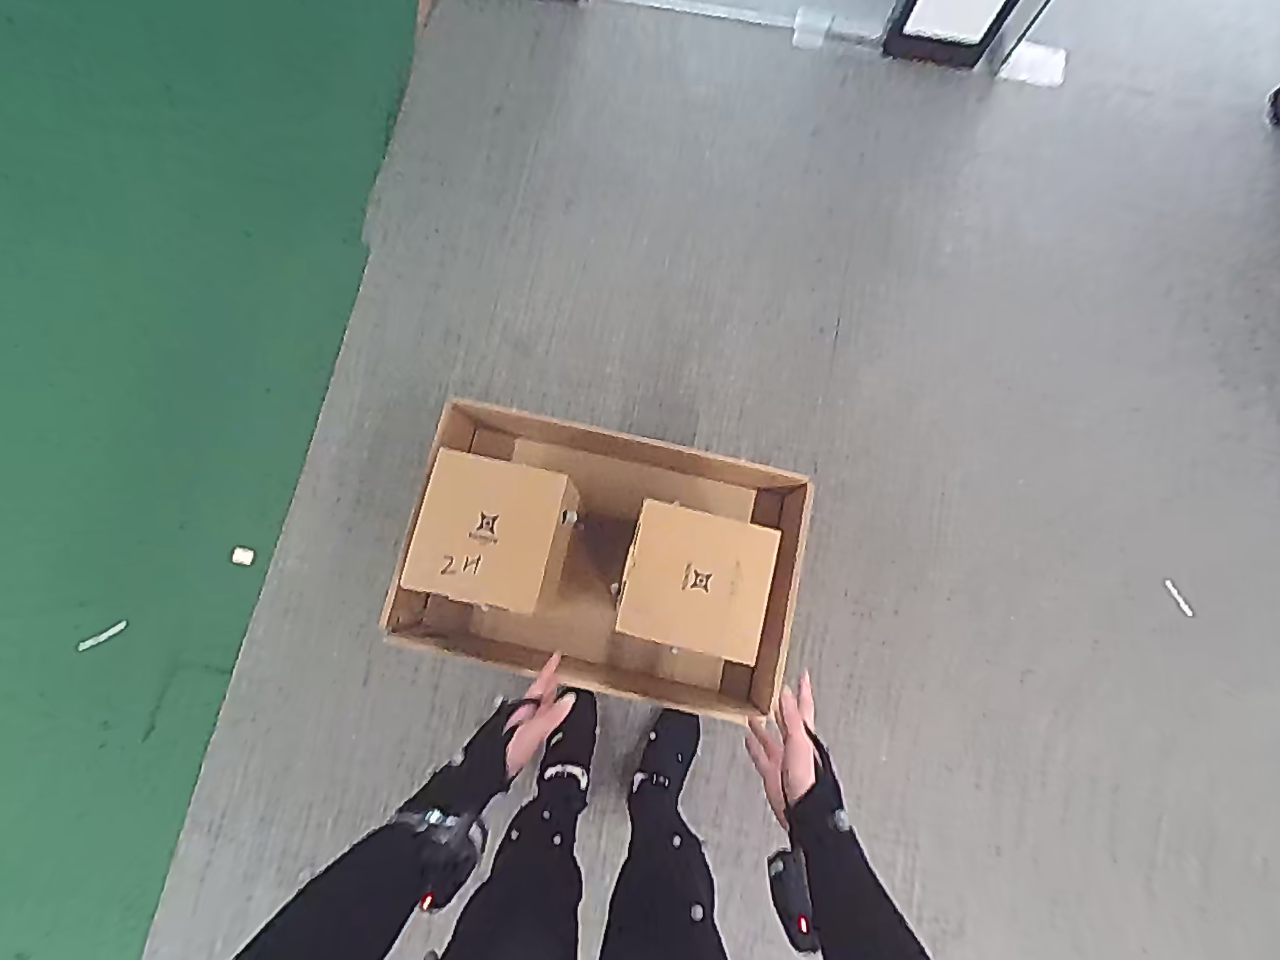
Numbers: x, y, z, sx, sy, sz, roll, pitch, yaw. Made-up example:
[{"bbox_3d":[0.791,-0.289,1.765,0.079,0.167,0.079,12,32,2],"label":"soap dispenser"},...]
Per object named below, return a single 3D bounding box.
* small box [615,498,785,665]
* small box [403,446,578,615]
[{"bbox_3d":[0.071,0.133,0.726,0.179,0.176,0.168,15,81,0],"label":"small box"},{"bbox_3d":[-0.184,0.072,0.727,0.168,0.176,0.179,13,79,1],"label":"small box"}]
